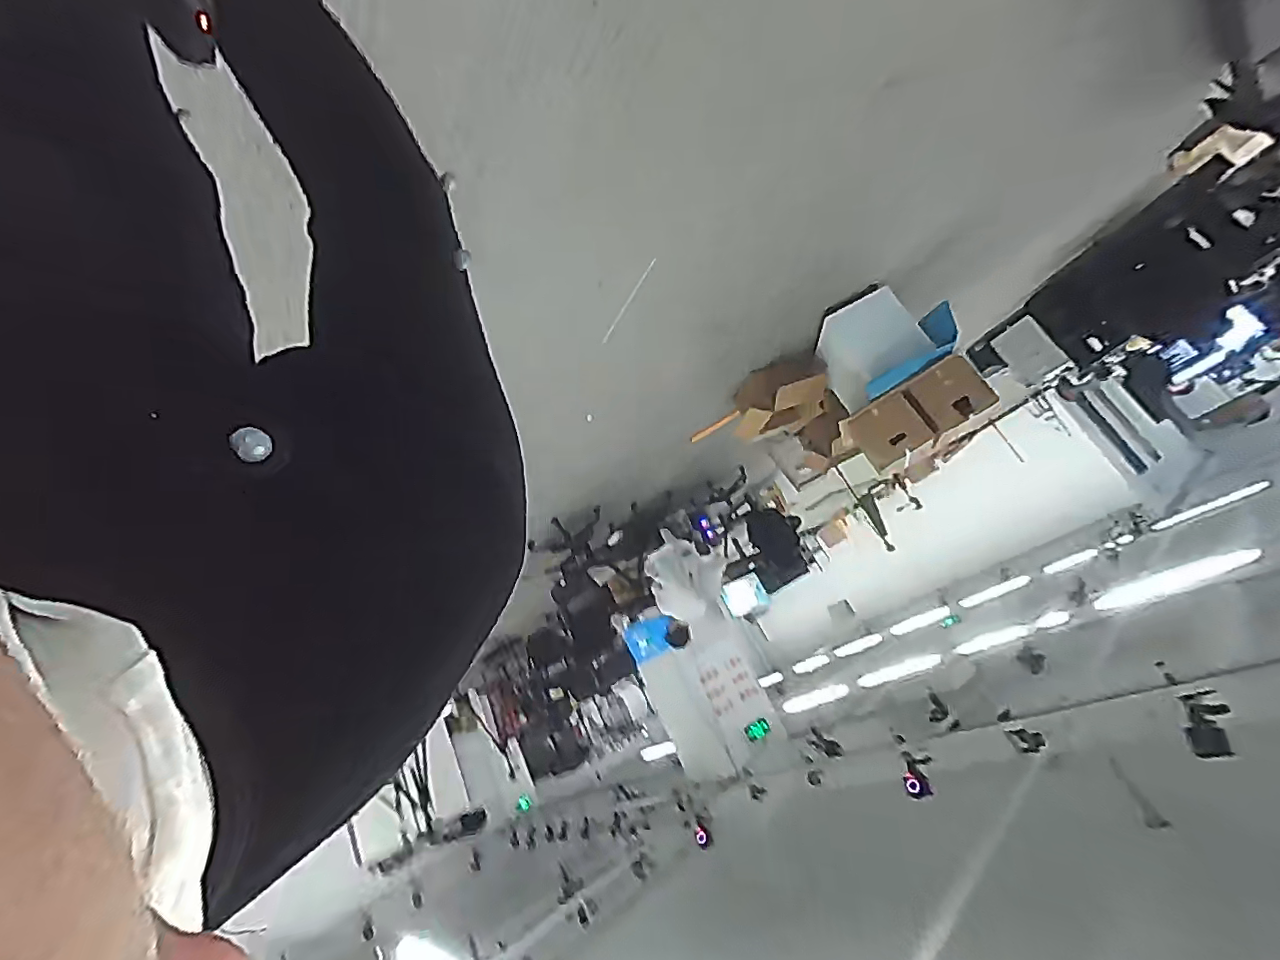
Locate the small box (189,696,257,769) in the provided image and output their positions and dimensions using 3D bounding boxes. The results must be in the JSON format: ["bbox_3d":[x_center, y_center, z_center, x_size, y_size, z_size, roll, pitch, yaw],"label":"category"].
[{"bbox_3d":[-1.467,0.882,1.904,0.168,0.176,0.179,-11,155,-39],"label":"small box"}]
